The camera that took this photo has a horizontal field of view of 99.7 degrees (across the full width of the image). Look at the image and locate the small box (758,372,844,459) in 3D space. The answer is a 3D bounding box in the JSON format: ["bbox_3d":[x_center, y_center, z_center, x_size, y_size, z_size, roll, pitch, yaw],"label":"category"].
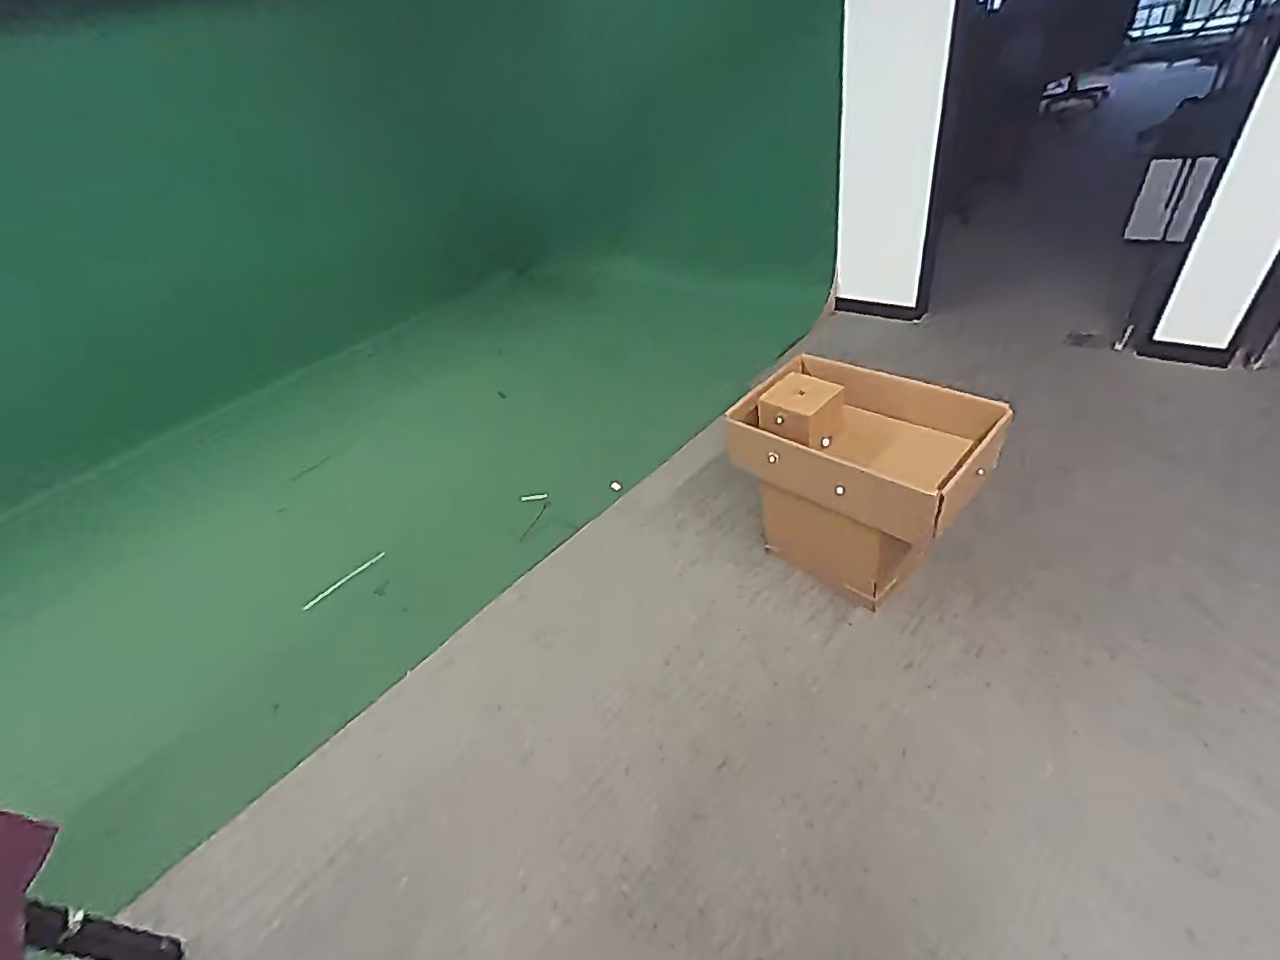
[{"bbox_3d":[0.465,-0.185,1.561,0.168,0.176,0.179,-38,44,-24],"label":"small box"}]
